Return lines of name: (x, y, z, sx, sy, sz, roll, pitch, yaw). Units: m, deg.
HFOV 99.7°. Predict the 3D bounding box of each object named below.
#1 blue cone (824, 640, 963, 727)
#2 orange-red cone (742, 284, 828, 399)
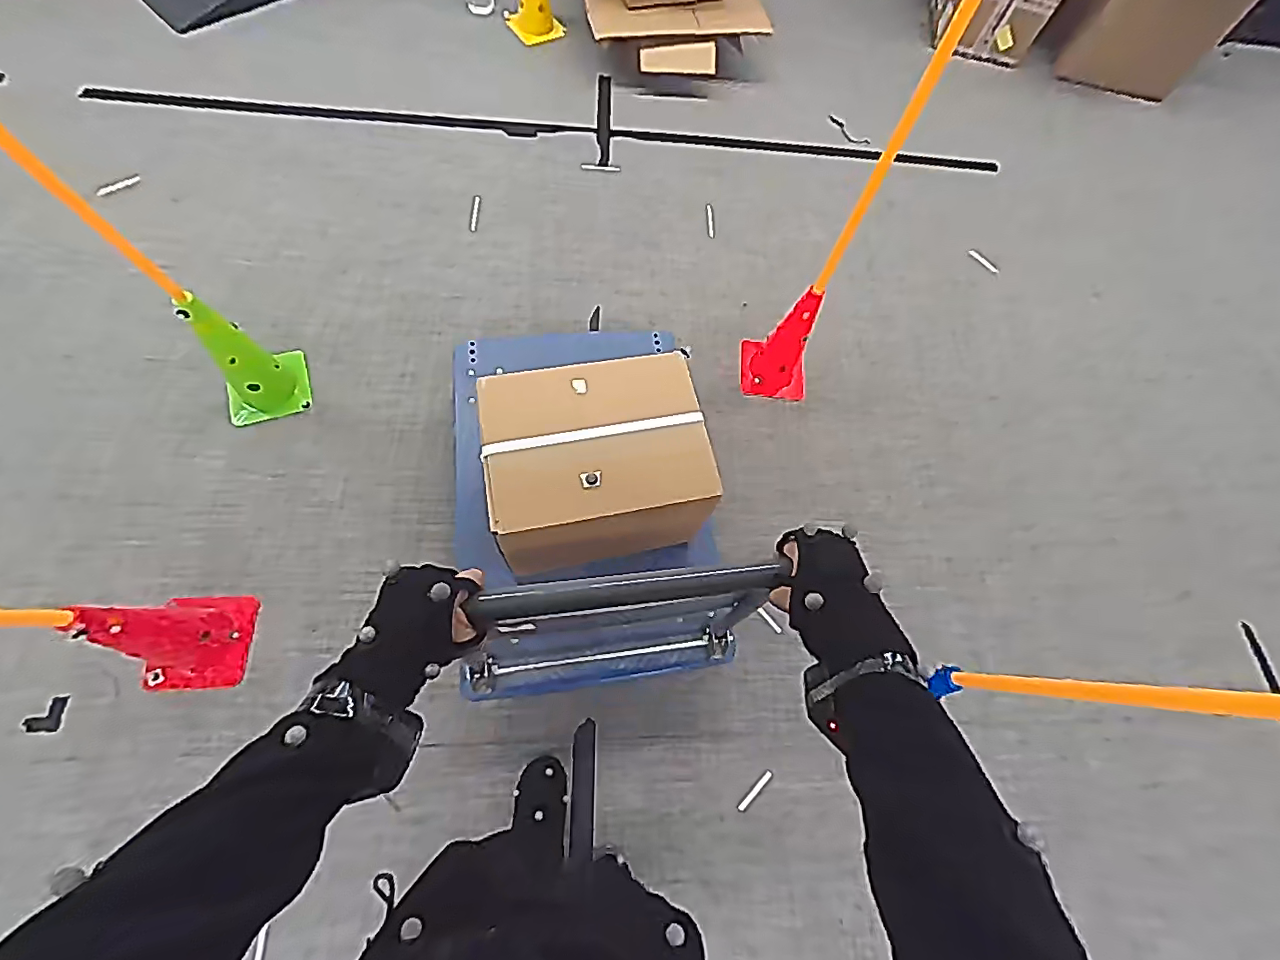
blue cone: (0.576, 0.433, 1.183, 0.193, 0.380, 0.192, -2, 67, -8)
orange-red cone: (0.433, -0.408, 1.503, 0.199, 0.360, 0.198, 8, 67, -4)
